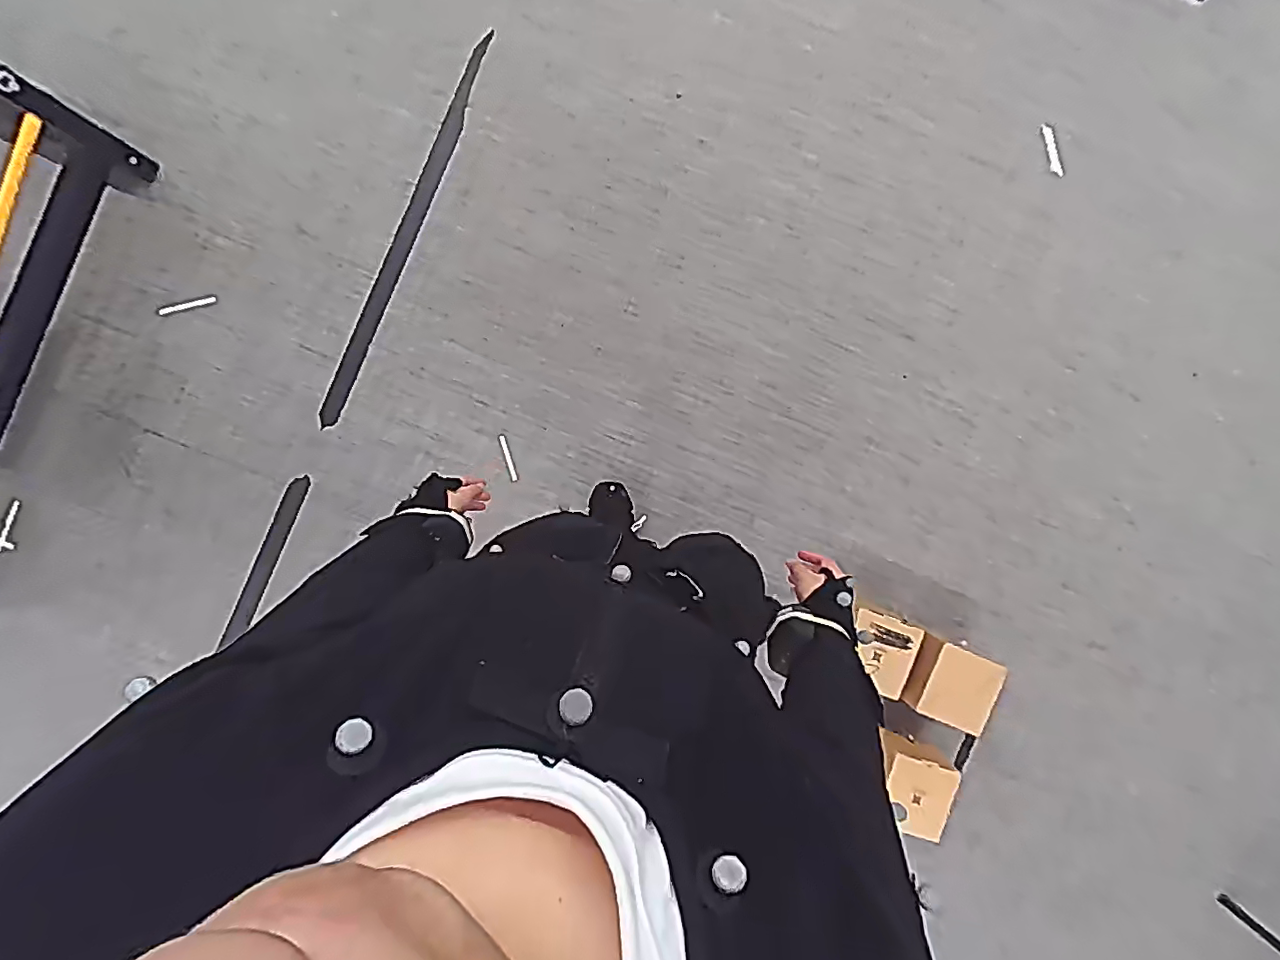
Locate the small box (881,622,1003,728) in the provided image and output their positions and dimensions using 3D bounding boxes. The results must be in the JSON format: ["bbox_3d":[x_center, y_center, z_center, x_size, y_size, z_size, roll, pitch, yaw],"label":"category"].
[{"bbox_3d":[0.735,0.479,1.325,0.168,0.176,0.179,23,91,-3],"label":"small box"}]

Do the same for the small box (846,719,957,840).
[{"bbox_3d":[0.633,0.730,1.334,0.168,0.176,0.179,19,90,-2],"label":"small box"}]
